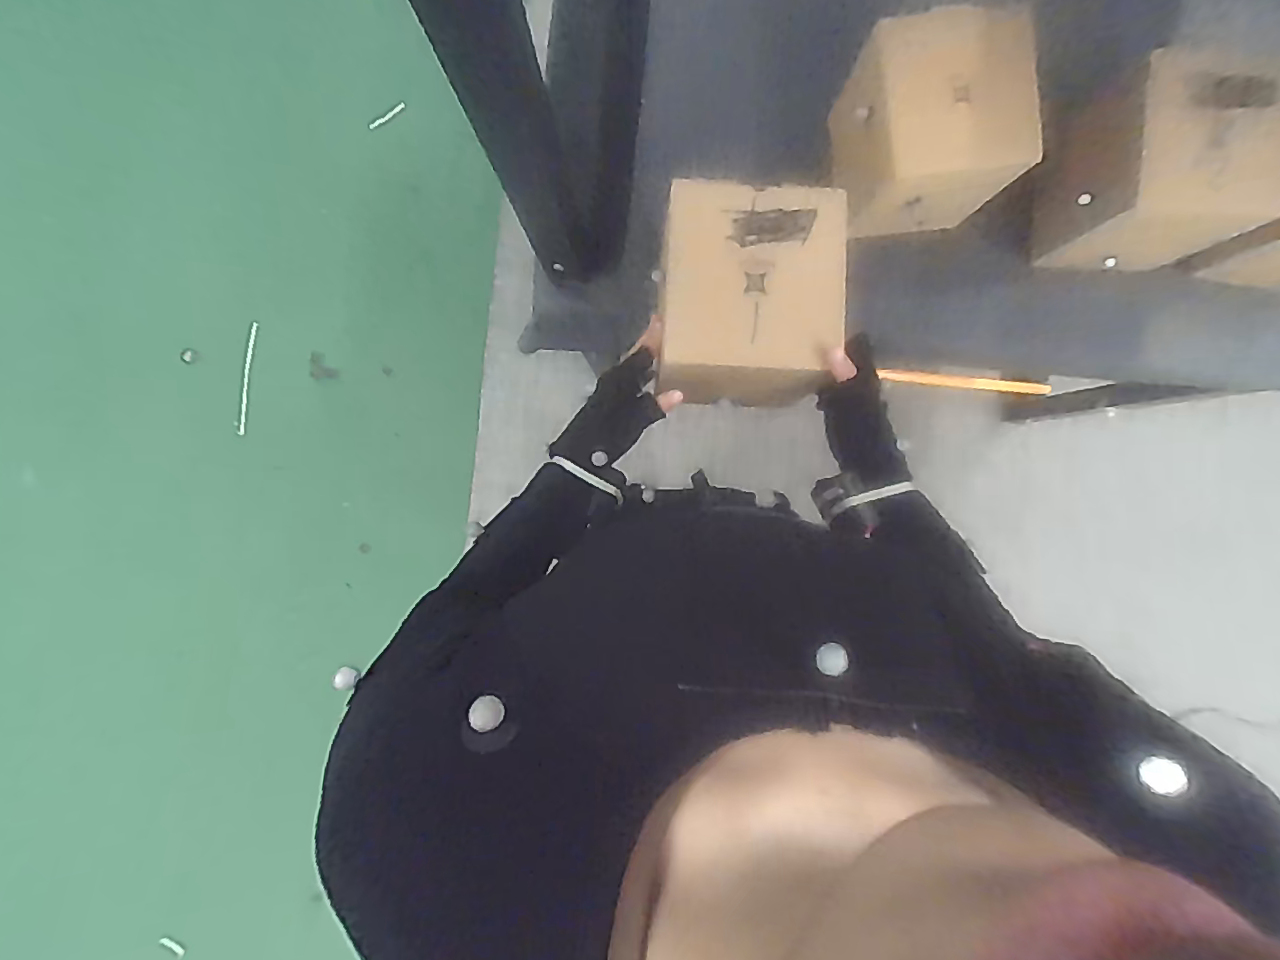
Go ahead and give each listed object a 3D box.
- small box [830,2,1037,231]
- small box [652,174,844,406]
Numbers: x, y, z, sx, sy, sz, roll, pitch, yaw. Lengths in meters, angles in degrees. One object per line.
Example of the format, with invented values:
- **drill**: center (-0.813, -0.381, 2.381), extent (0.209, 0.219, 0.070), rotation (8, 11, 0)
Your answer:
- **small box**: center (0.349, -0.429, 0.672), extent (0.168, 0.176, 0.179), rotation (-5, 90, 1)
- **small box**: center (0.101, -0.185, 0.573), extent (0.168, 0.176, 0.179), rotation (3, 86, -1)
